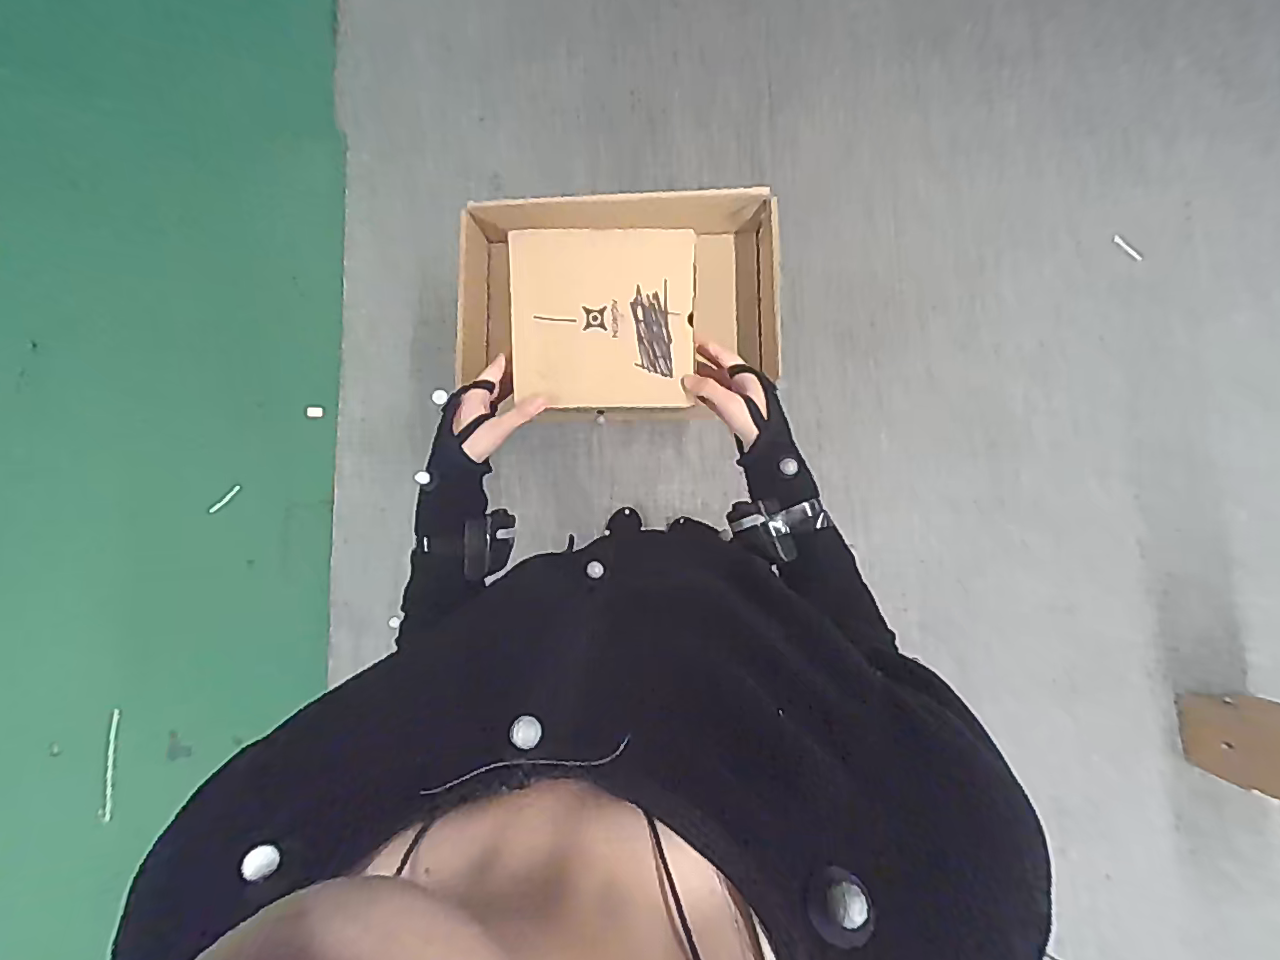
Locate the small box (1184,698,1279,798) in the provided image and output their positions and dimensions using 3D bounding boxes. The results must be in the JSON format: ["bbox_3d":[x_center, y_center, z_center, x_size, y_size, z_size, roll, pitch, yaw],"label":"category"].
[{"bbox_3d":[1.459,0.626,1.286,0.168,0.176,0.179,-3,84,4],"label":"small box"}]
